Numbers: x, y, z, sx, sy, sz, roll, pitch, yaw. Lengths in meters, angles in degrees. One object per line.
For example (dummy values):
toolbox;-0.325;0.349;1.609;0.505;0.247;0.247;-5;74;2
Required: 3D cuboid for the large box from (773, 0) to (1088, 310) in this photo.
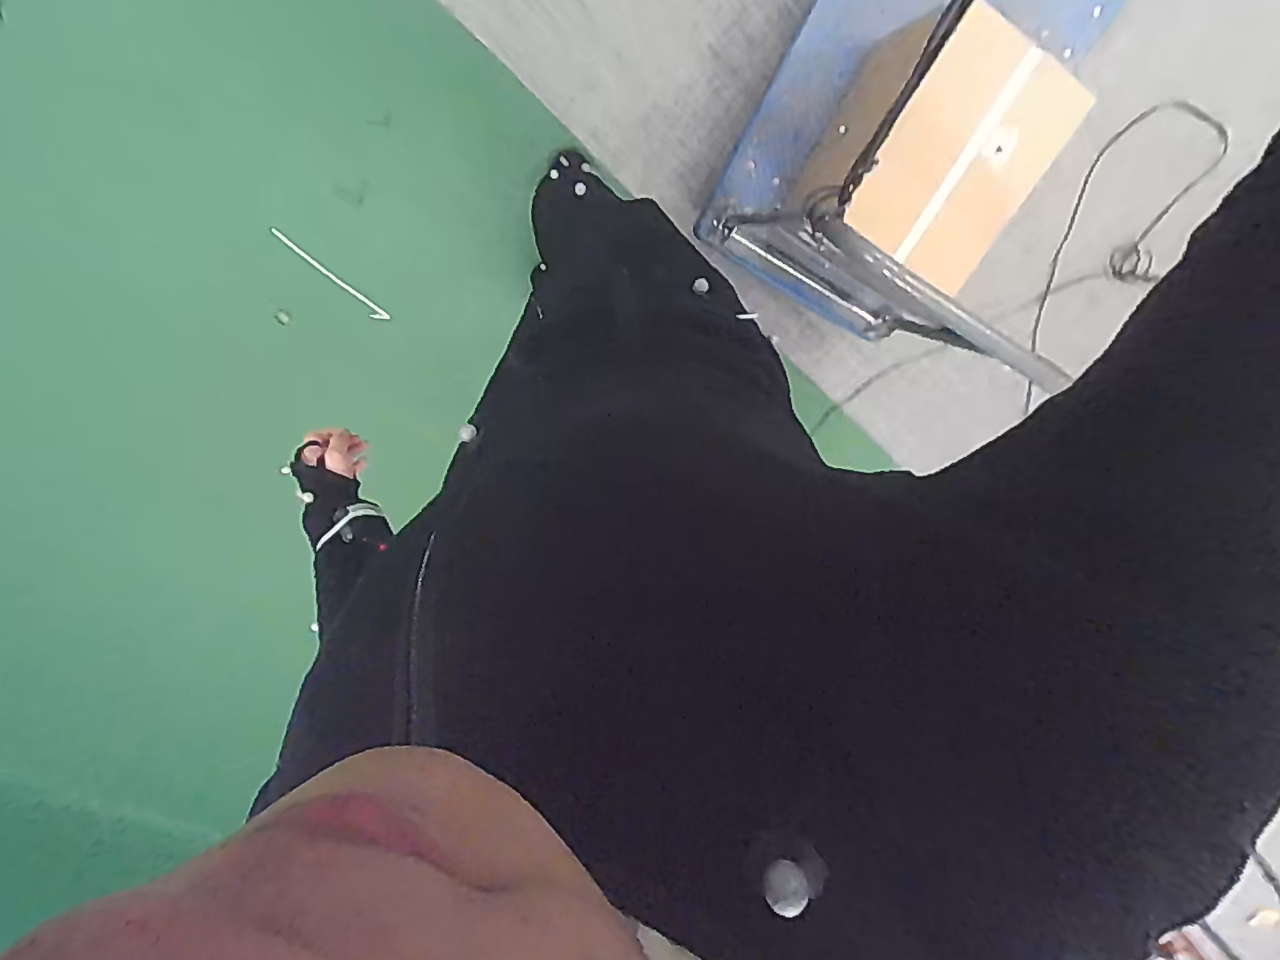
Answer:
large box;0.535;-0.615;1.090;0.320;0.320;0.408;24;112;-17
